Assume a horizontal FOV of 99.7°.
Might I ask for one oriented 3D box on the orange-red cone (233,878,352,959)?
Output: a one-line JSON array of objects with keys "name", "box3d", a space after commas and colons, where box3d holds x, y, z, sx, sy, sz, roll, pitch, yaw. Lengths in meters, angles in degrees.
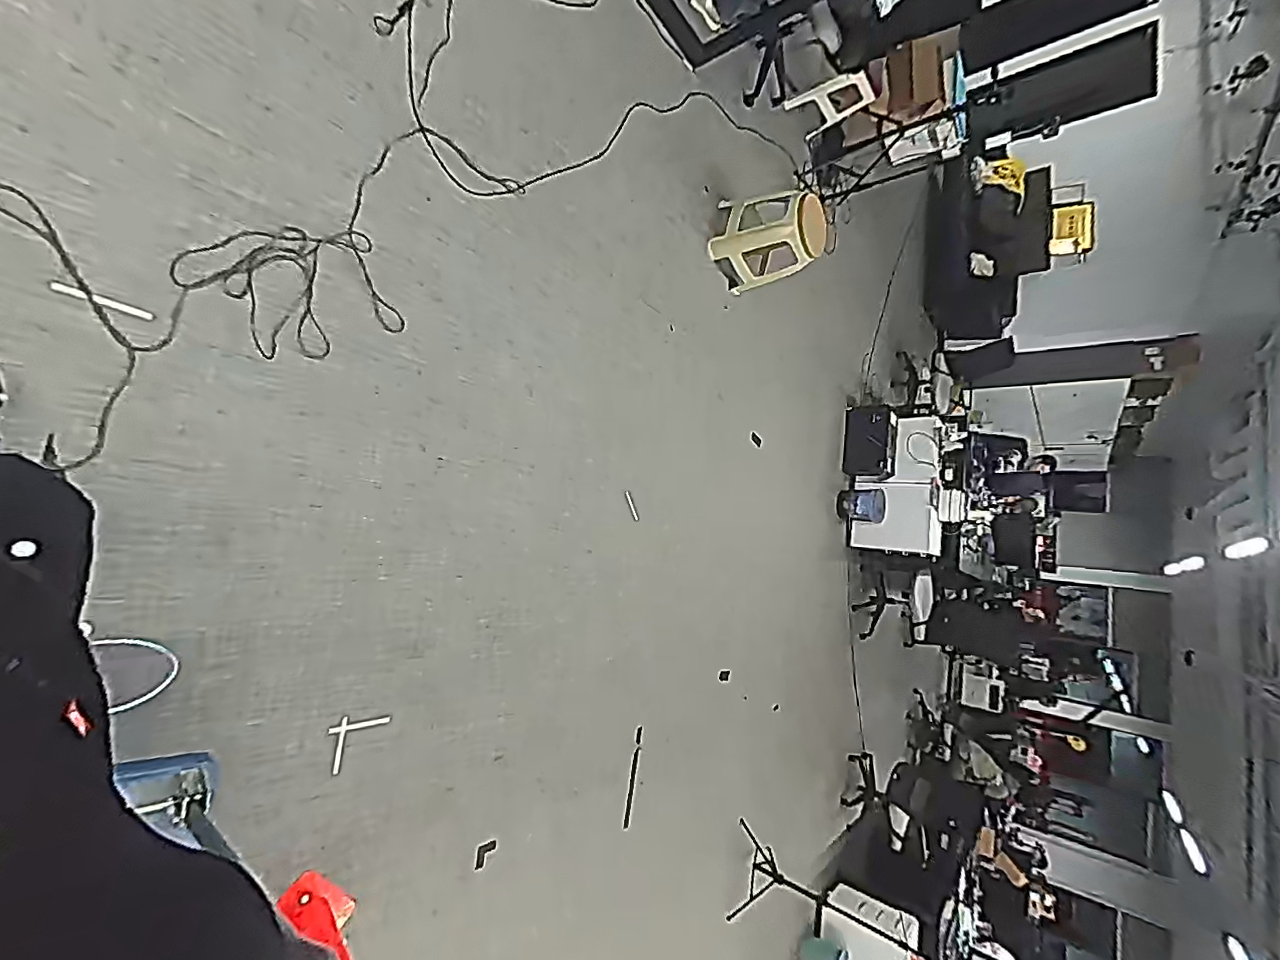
[{"name": "orange-red cone", "box3d": [-0.672, 1.071, 1.149, 0.199, 0.360, 0.198, -46, 124, -38]}]
